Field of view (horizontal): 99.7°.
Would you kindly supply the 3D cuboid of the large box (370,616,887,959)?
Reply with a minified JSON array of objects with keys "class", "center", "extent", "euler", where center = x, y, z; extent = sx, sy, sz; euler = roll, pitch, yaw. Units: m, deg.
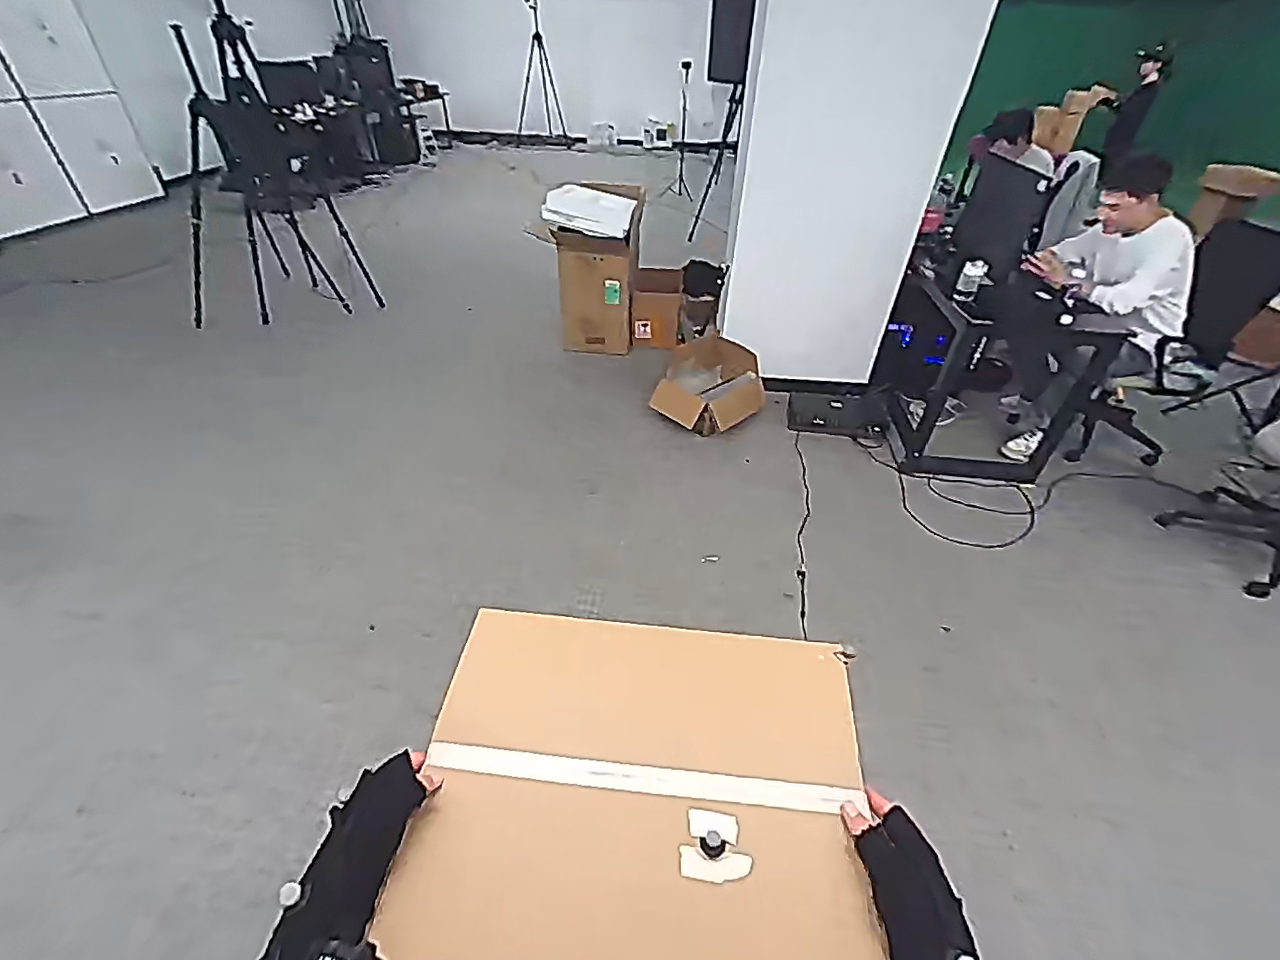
[{"class":"large box","center":[0.001,0.383,0.607],"extent":[0.408,0.320,0.320],"euler":[5,46,4]}]
